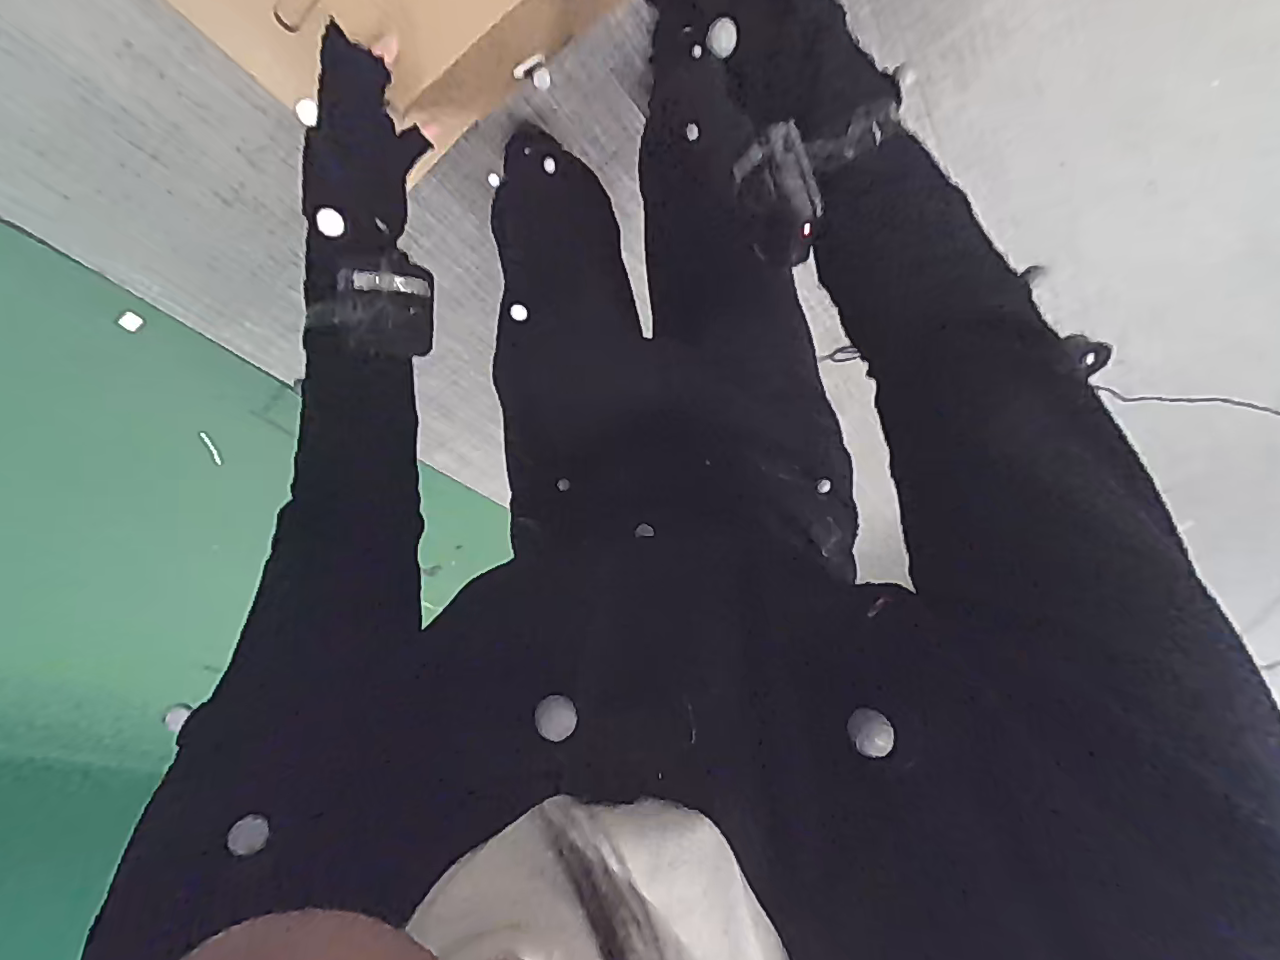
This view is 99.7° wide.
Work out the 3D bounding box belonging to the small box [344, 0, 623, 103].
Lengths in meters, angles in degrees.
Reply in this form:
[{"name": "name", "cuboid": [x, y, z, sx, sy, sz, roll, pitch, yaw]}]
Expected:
[{"name": "small box", "cuboid": [-0.125, -0.402, 0.379, 0.168, 0.176, 0.179, -25, 116, 23]}]
